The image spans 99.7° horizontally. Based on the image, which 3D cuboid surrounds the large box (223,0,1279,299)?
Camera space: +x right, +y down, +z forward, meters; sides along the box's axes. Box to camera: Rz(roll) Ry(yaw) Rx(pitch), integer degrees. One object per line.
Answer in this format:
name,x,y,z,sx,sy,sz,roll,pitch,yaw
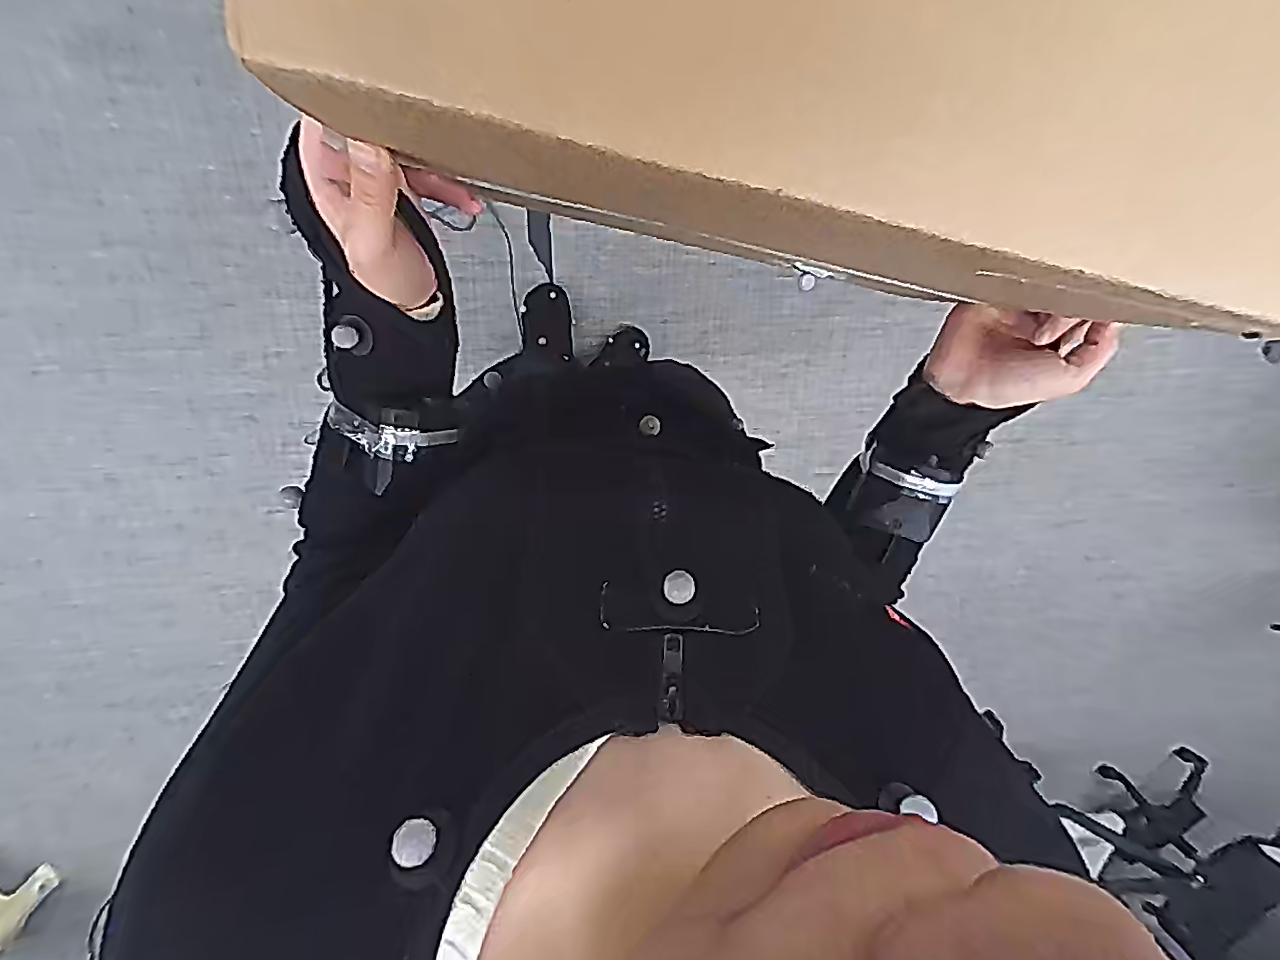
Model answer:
large box,0.089,-0.290,0.256,0.408,0.320,0.320,6,113,-12
